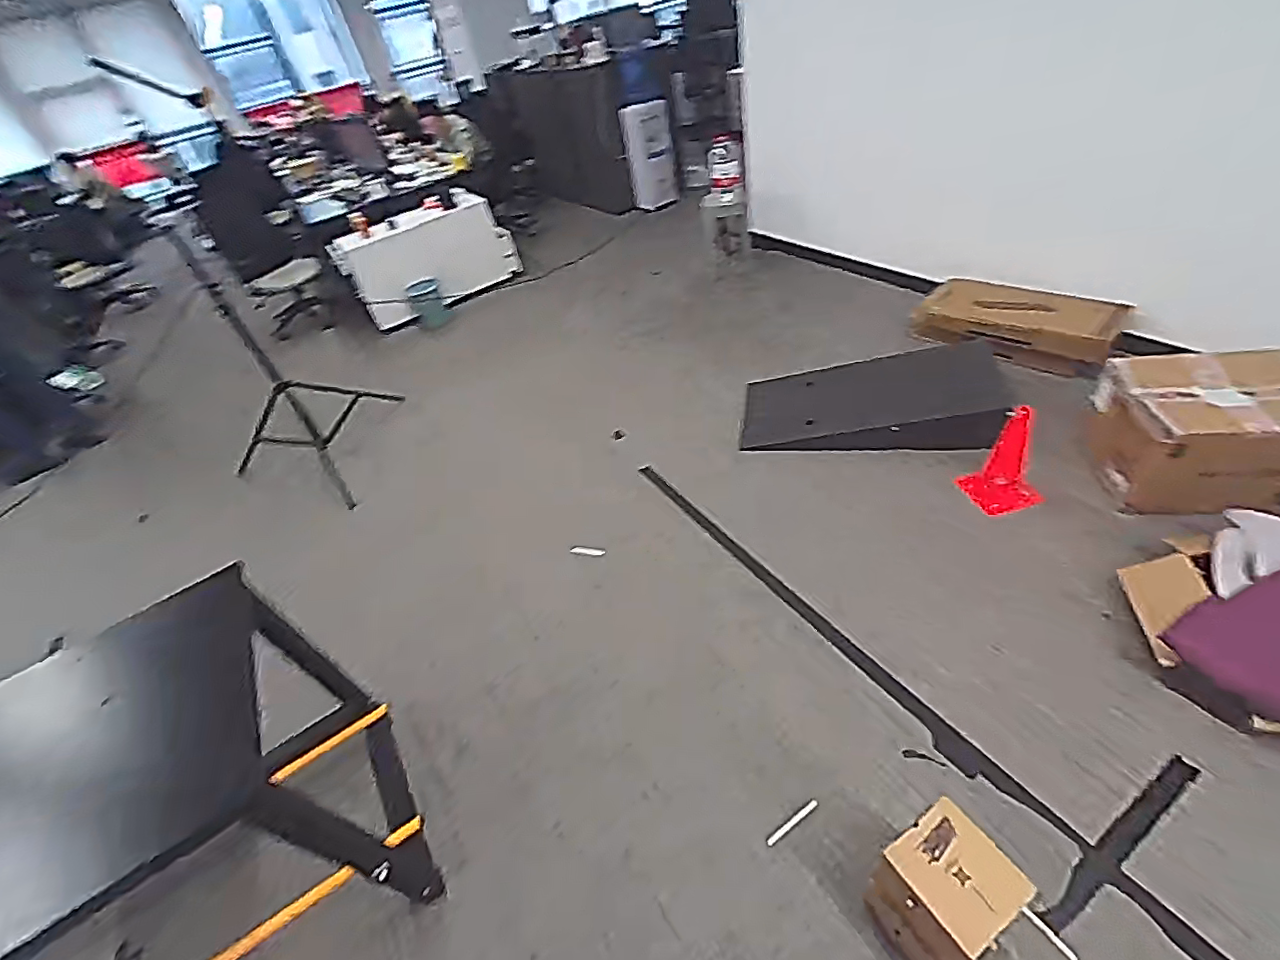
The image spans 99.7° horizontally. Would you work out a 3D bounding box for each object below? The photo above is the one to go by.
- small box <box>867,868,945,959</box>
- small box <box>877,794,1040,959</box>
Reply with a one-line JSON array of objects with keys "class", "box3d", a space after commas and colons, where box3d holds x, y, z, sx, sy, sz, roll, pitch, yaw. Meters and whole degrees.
[{"class": "small box", "box3d": [0.577, 0.836, 1.078, 0.179, 0.176, 0.168, -29, 44, -15]}, {"class": "small box", "box3d": [0.553, 0.715, 0.968, 0.168, 0.176, 0.179, -29, 45, -16]}]
